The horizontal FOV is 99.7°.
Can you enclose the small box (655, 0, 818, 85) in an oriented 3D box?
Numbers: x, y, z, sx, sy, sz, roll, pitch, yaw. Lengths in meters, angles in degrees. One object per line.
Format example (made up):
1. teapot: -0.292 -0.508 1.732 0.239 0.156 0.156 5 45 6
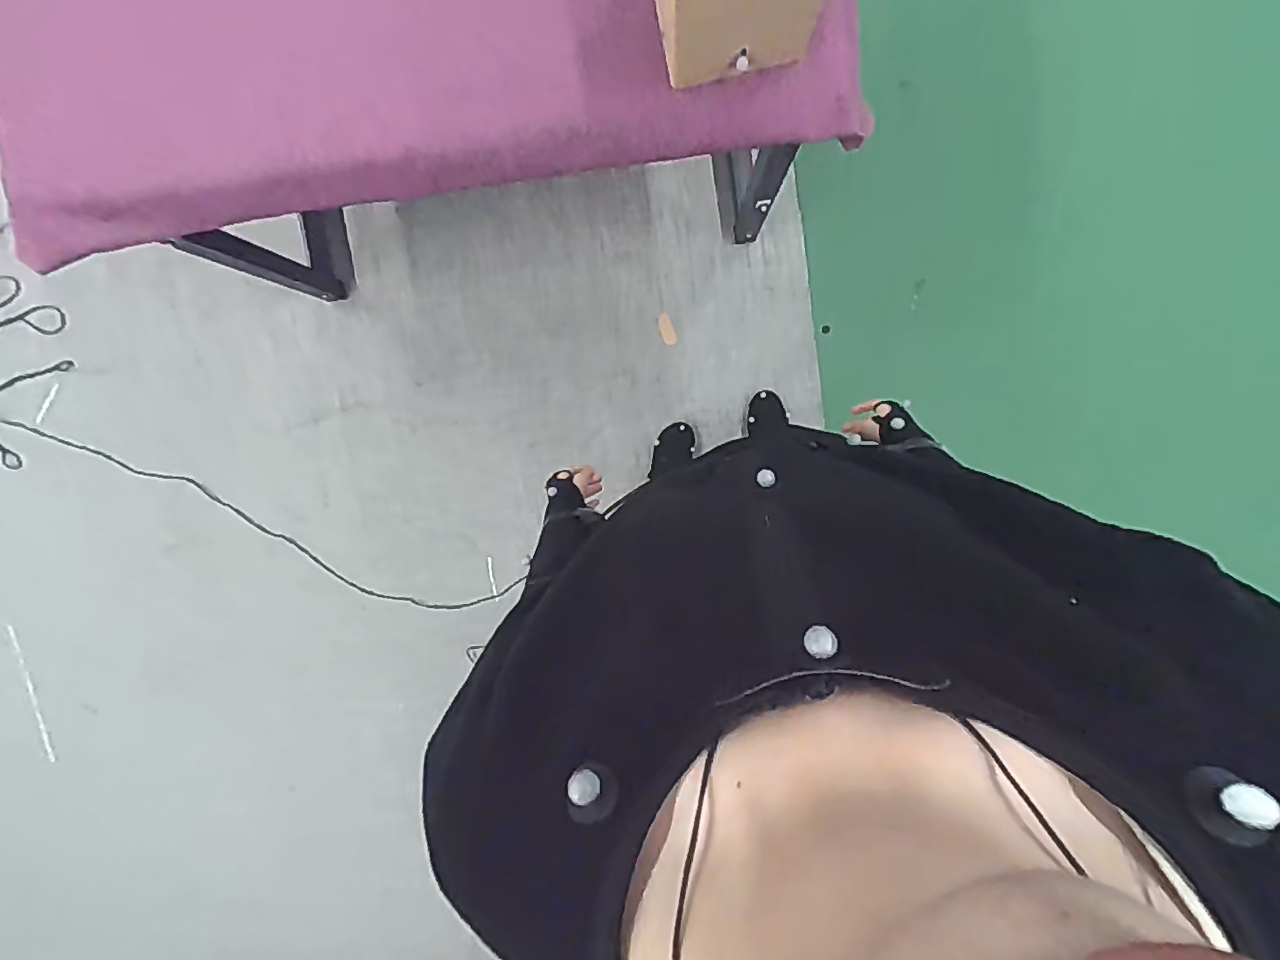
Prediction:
1. small box: 0.107 -0.606 0.624 0.179 0.176 0.168 -11 96 5
